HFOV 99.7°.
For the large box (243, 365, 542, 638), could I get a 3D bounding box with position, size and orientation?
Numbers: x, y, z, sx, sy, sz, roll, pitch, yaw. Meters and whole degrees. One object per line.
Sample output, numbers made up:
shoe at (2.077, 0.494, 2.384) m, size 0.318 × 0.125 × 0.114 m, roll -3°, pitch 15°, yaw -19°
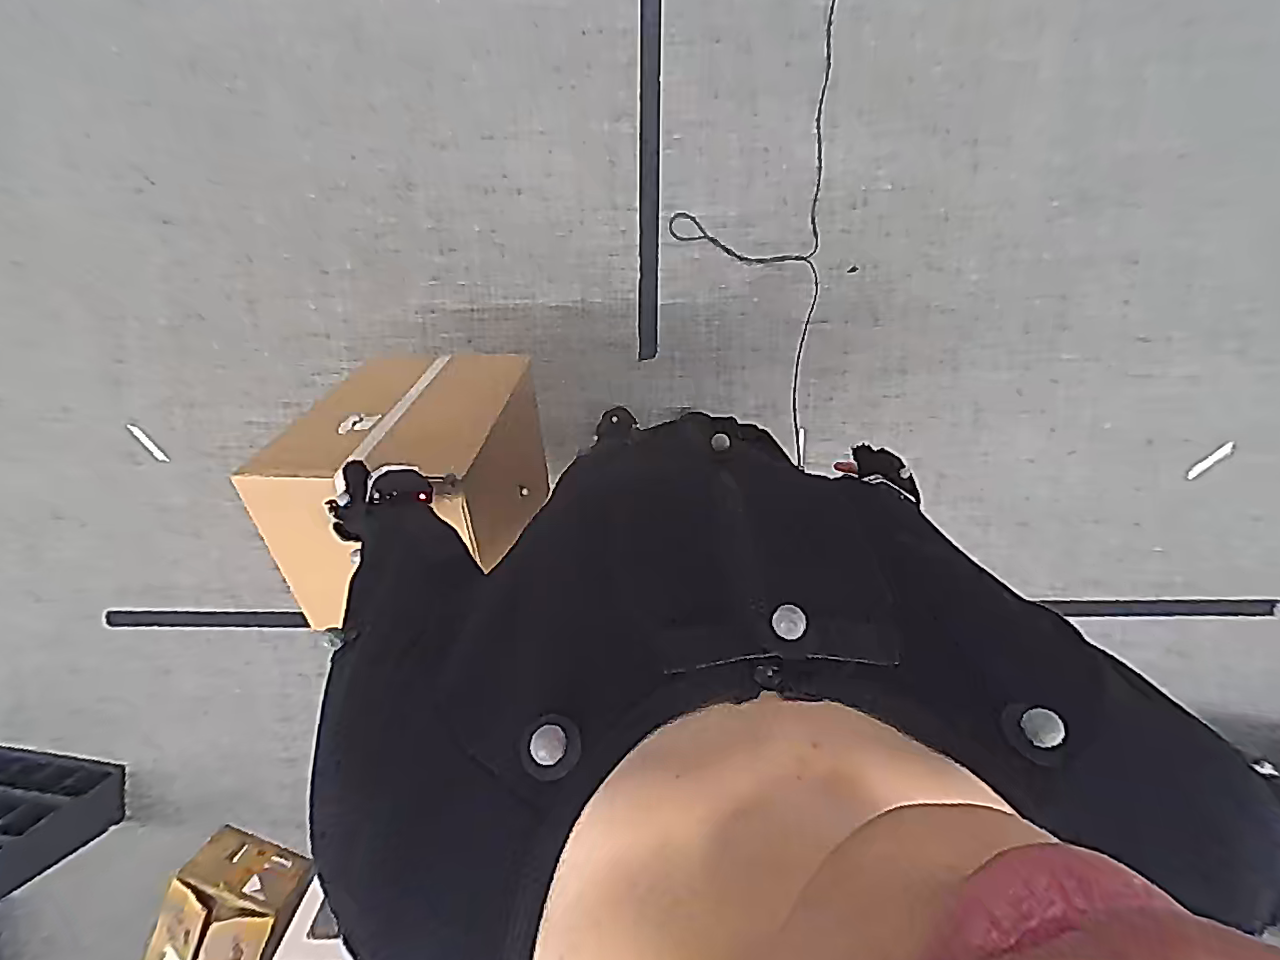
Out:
large box at (-0.371, 0.021, 0.957) m, size 0.320 × 0.408 × 0.320 m, roll -1°, pitch 125°, yaw 3°
